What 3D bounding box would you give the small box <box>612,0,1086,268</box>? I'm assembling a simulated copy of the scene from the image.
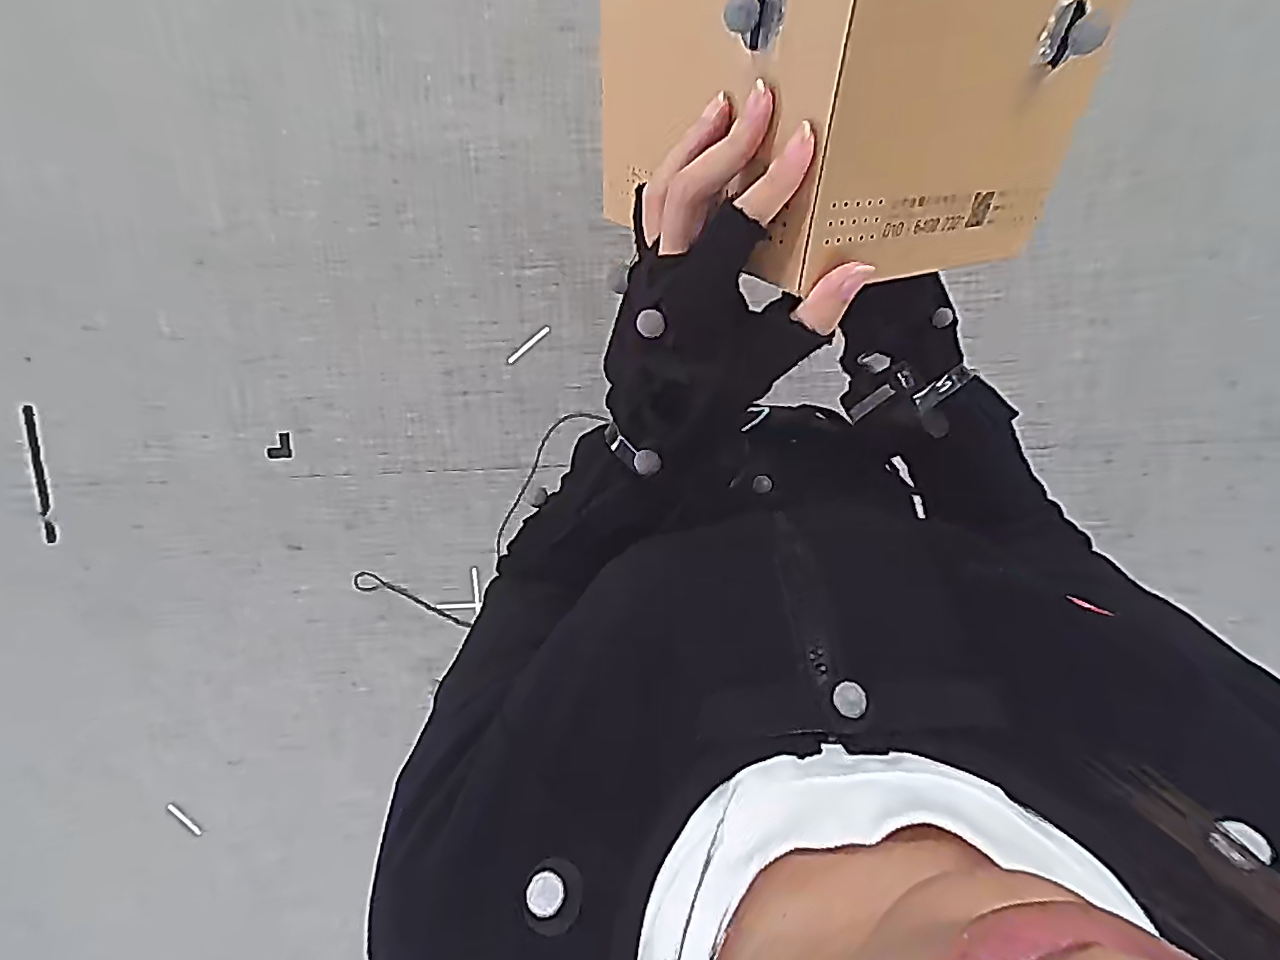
[{"bbox_3d":[0.096,-0.215,0.281,0.168,0.179,0.176,-17,129,-25],"label":"small box"}]
